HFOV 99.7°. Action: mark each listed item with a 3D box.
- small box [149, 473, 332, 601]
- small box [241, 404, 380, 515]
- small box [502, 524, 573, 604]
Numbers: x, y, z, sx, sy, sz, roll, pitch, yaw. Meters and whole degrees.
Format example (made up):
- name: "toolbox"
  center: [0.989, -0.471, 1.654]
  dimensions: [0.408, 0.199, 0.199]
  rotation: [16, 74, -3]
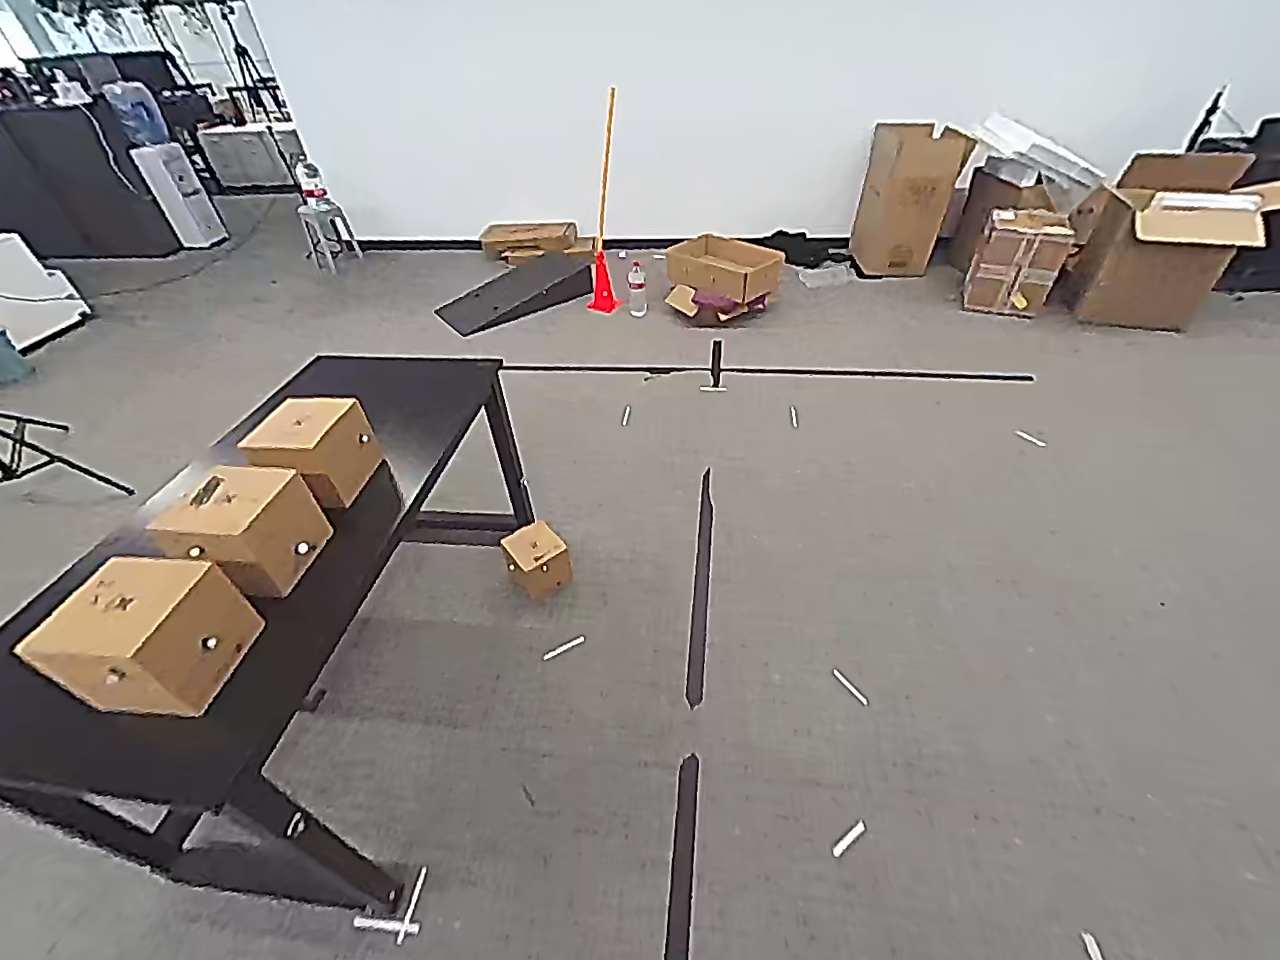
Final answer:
- name: "small box"
  center: [-0.716, 0.105, 0.994]
  dimensions: [0.179, 0.176, 0.168]
  rotation: [3, 42, 7]
- name: "small box"
  center: [-0.694, -0.046, 1.169]
  dimensions: [0.168, 0.176, 0.179]
  rotation: [1, 42, 7]
- name: "small box"
  center: [-0.352, 0.290, 1.864]
  dimensions: [0.168, 0.176, 0.179]
  rotation: [-30, 48, -27]
